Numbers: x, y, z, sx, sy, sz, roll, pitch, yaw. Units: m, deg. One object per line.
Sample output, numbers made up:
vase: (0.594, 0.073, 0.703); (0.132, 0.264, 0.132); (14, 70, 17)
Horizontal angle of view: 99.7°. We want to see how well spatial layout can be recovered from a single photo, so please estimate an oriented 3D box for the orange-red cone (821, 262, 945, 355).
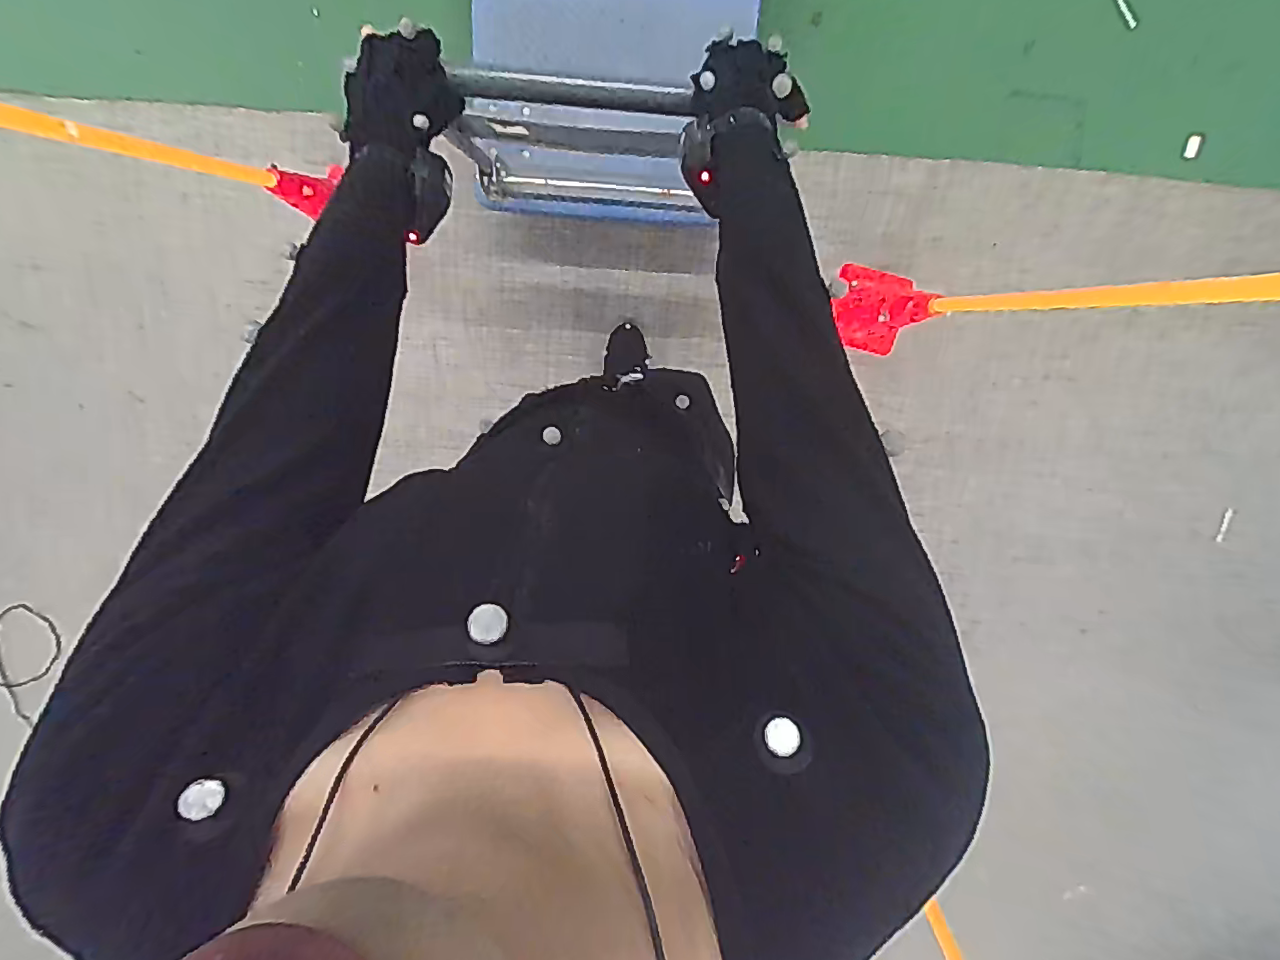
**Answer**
orange-red cone: (0.584, -0.393, 1.229); (0.198, 0.360, 0.199); (15, 106, -3)
